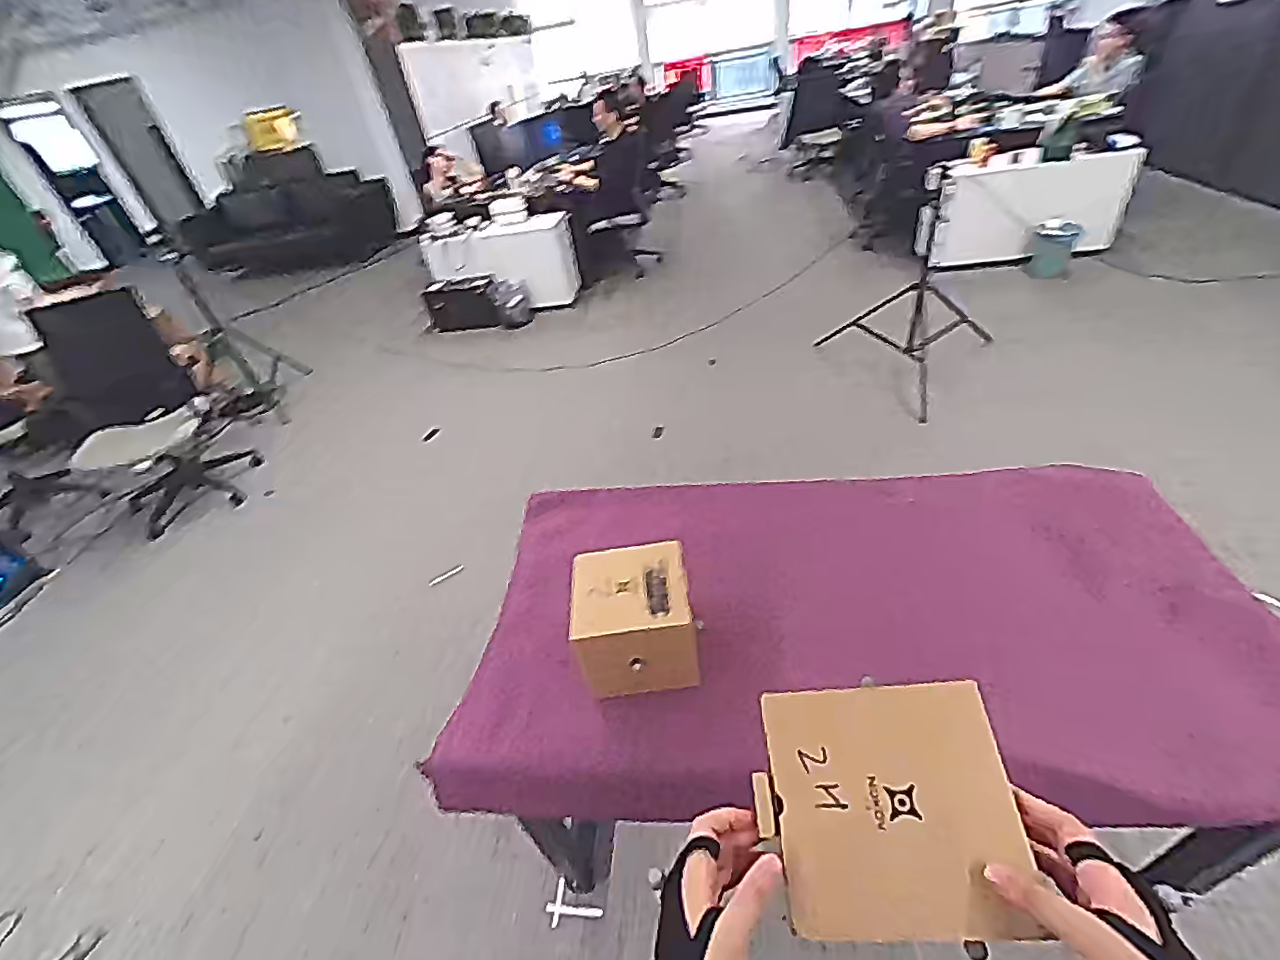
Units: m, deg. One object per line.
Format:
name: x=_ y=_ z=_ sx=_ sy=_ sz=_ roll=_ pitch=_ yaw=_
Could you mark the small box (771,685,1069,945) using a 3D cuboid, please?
small box: x=0.216 y=0.286 z=0.476 sx=0.179 sy=0.176 sz=0.168 roll=-9 pitch=56 yaw=12
